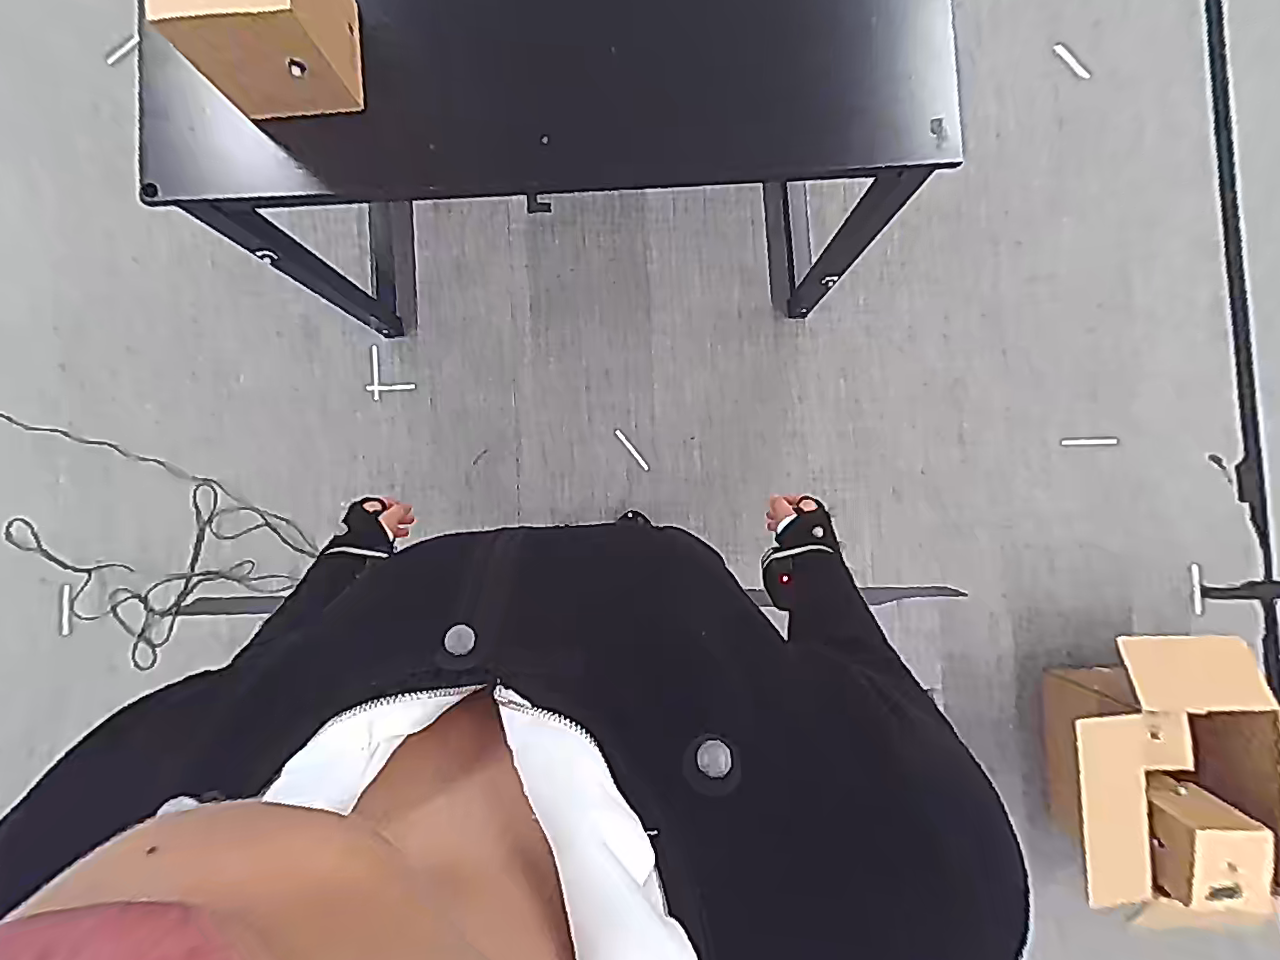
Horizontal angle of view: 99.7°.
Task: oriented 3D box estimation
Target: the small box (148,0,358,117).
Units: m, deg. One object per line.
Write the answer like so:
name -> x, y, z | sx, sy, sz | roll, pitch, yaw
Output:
small box -> -0.499, -0.624, 0.721 | 0.179, 0.176, 0.168 | -5, 87, 1
